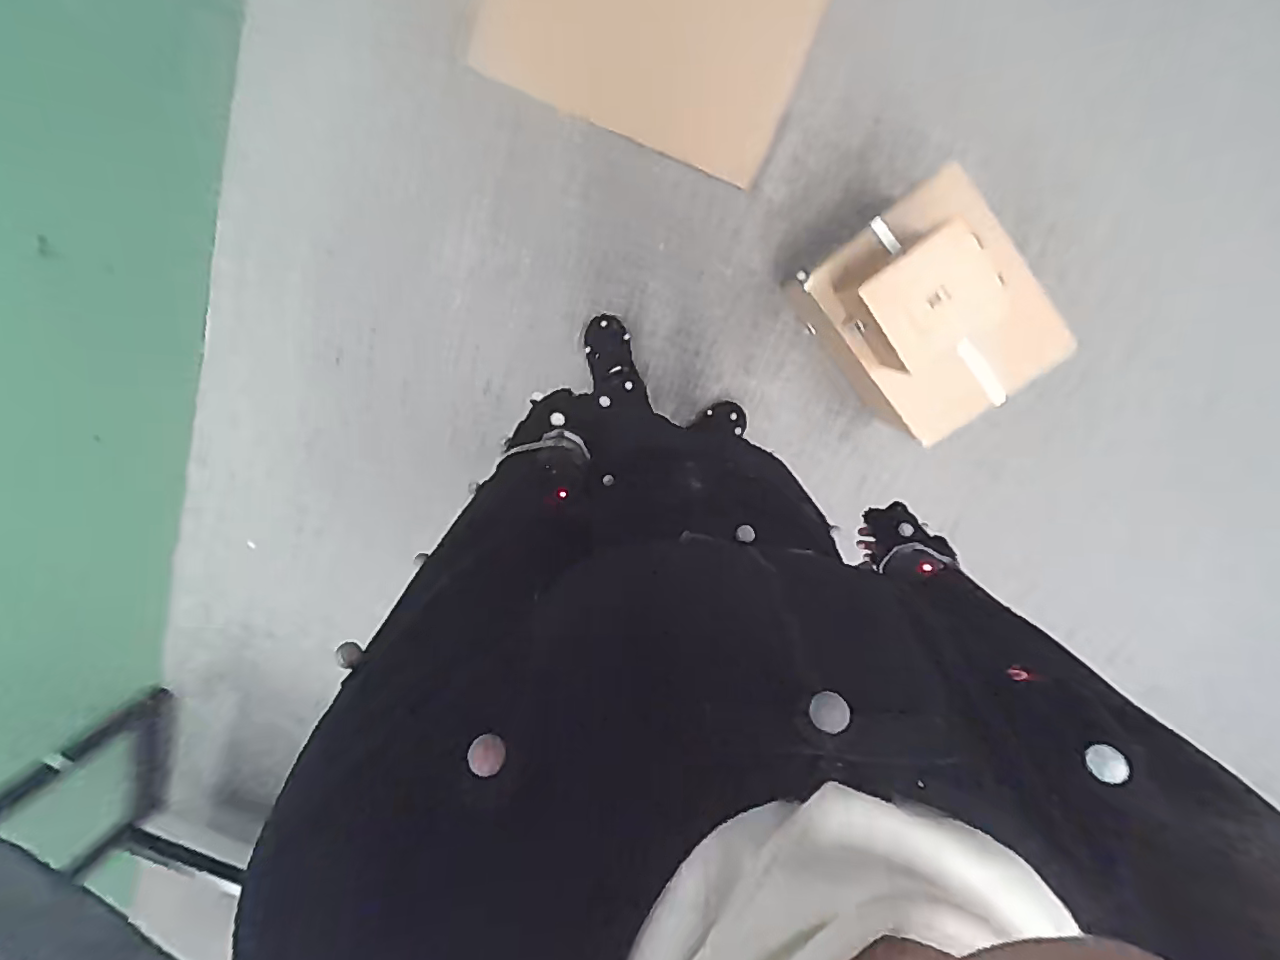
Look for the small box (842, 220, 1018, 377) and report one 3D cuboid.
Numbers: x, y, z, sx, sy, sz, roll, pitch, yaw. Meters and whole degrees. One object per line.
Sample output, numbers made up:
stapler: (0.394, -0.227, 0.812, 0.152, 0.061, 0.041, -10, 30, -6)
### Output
small box: (0.465, -0.294, 0.898, 0.179, 0.176, 0.168, -35, 98, 17)
